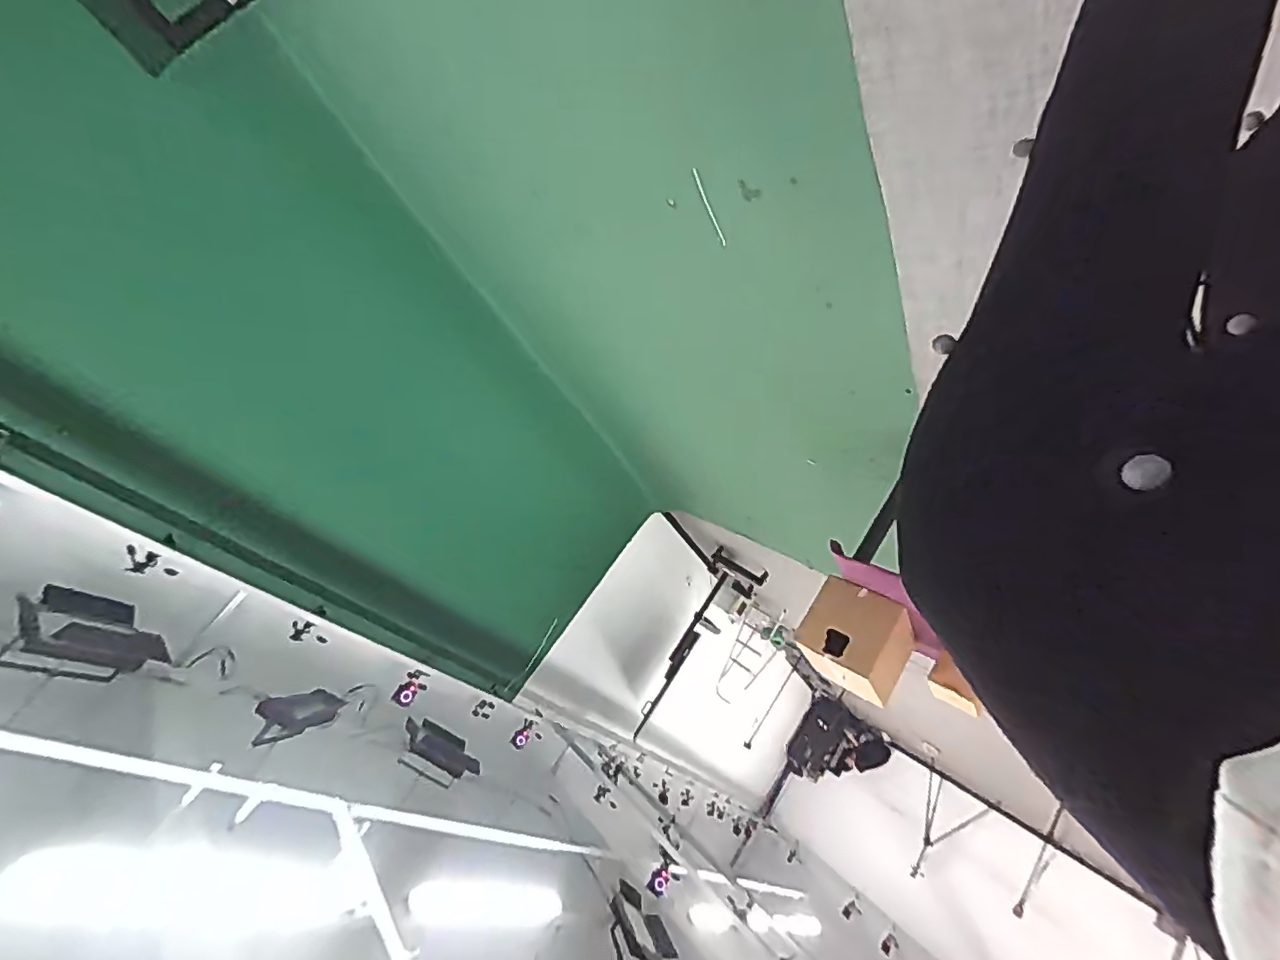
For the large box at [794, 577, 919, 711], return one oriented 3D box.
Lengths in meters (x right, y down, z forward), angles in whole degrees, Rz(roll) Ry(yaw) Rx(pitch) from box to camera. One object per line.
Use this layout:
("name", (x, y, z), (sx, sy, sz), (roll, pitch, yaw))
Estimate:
("large box", (0.876, 0.652, 2.158), (0.320, 0.320, 0.408), (20, 158, 43))
